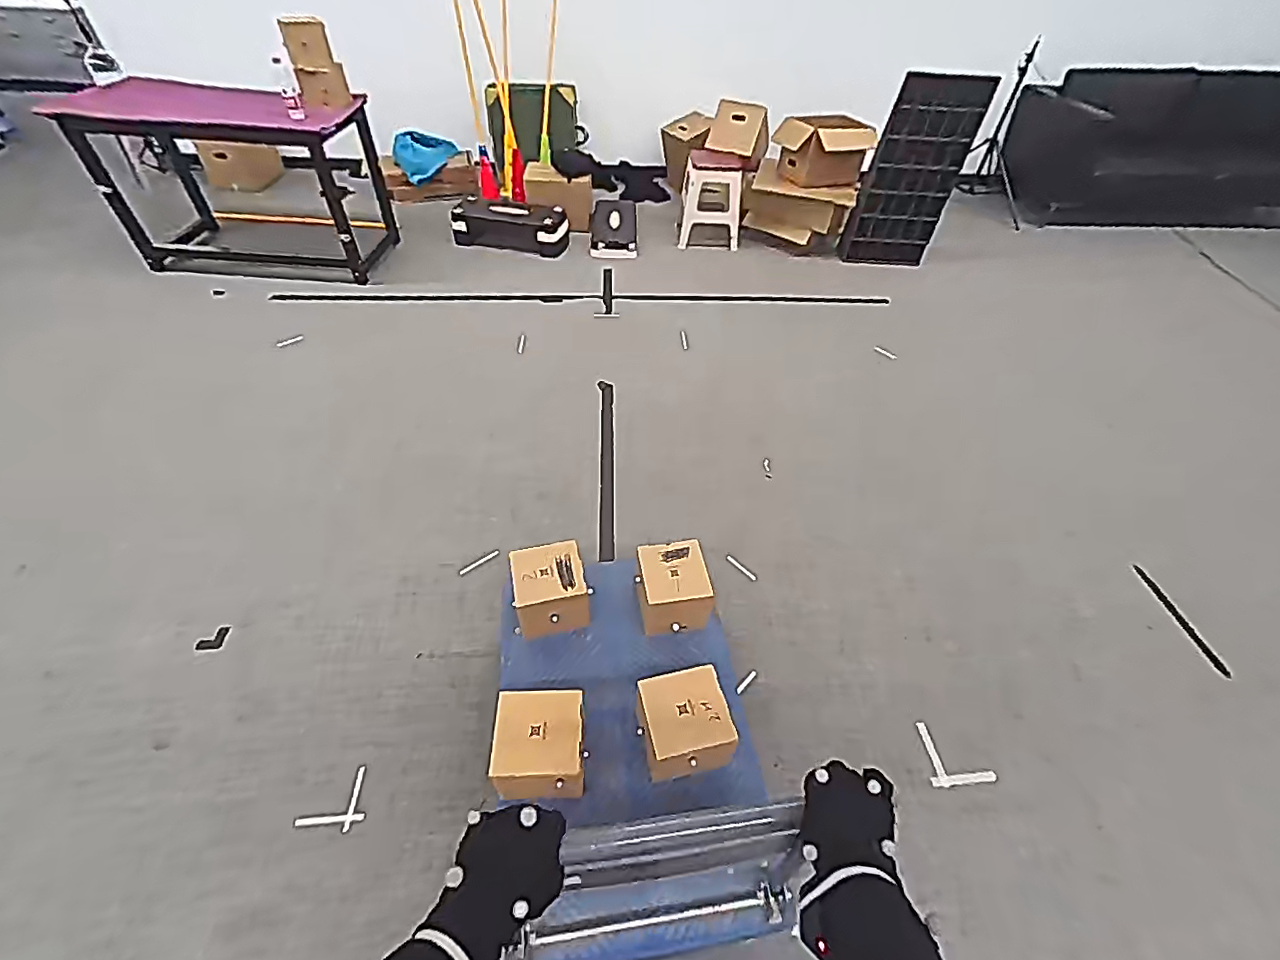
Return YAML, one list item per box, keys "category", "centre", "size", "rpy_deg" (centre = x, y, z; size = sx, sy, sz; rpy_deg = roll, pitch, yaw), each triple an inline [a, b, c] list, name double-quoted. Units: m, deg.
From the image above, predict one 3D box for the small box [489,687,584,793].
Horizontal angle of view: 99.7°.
- category: "small box"
  centre: [-0.212, 0.558, 1.157]
  size: [0.179, 0.176, 0.168]
  rpy_deg: [1, 46, -5]

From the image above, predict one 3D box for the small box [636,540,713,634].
- category: "small box"
  centre: [0.082, 0.283, 1.434]
  size: [0.168, 0.176, 0.179]
  rpy_deg: [-5, 48, -8]

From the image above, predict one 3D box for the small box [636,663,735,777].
- category: "small box"
  centre: [0.091, 0.534, 1.197]
  size: [0.179, 0.176, 0.168]
  rpy_deg: [-8, 48, -11]
